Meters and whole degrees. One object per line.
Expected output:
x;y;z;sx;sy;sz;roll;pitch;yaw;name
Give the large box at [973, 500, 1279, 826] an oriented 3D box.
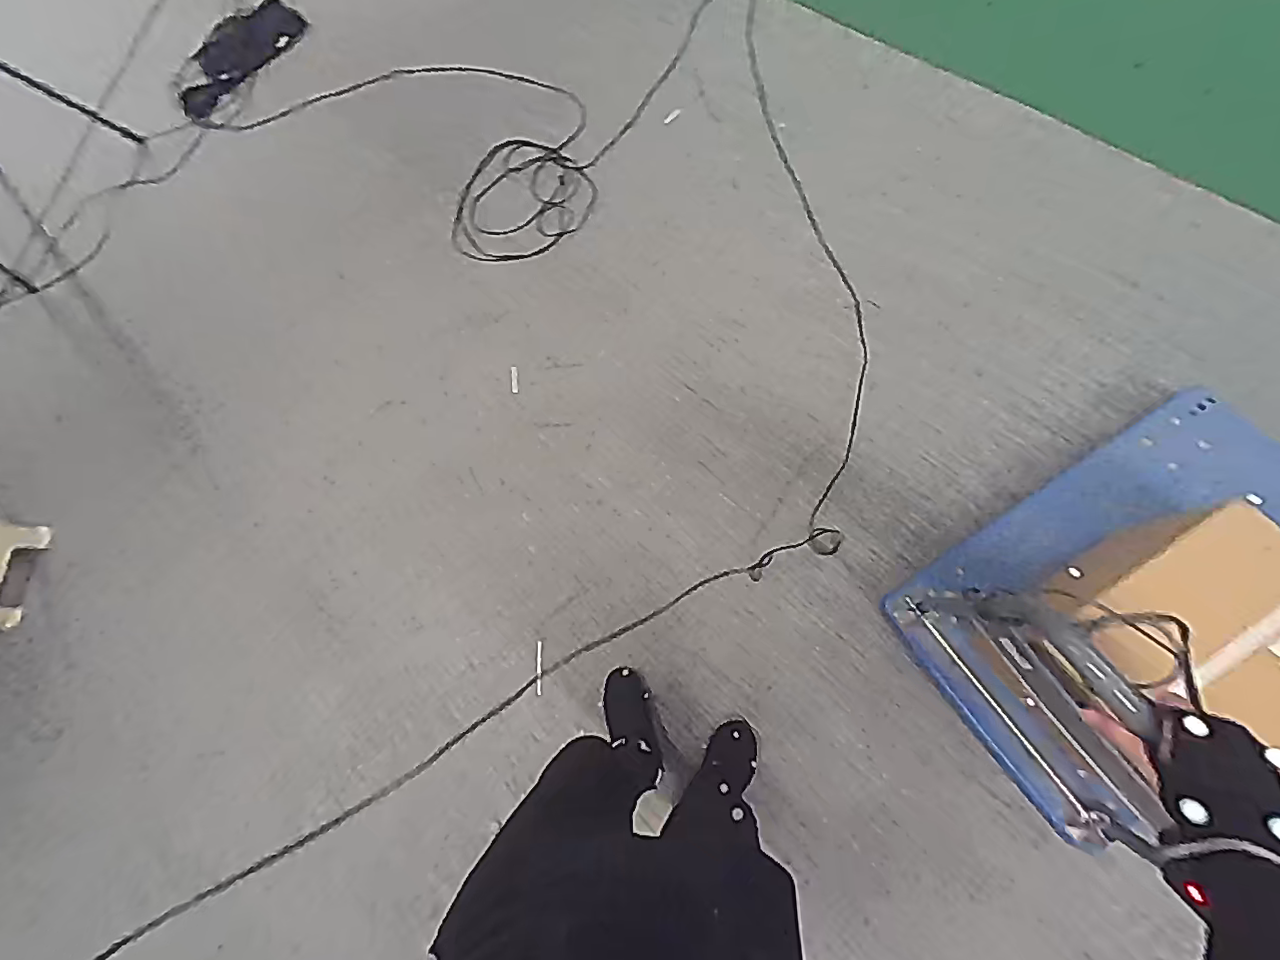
0.911;0.302;0.954;0.408;0.320;0.320;-35;72;0;large box
